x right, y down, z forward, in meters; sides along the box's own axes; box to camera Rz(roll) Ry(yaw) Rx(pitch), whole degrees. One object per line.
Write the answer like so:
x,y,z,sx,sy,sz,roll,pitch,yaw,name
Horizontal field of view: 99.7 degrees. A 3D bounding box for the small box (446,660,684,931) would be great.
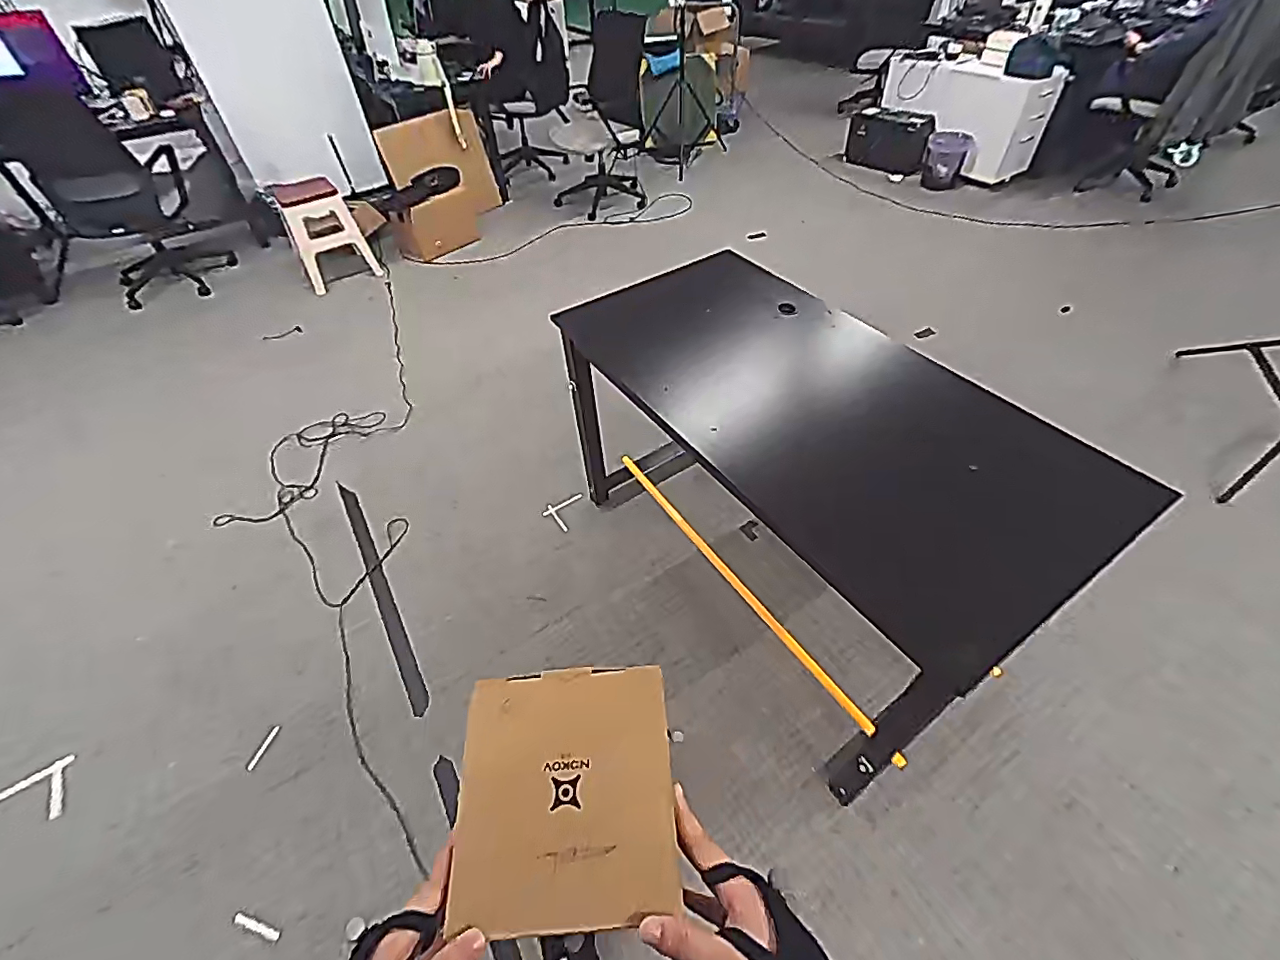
-0.053,0.278,0.482,0.168,0.176,0.179,-5,54,0,small box
